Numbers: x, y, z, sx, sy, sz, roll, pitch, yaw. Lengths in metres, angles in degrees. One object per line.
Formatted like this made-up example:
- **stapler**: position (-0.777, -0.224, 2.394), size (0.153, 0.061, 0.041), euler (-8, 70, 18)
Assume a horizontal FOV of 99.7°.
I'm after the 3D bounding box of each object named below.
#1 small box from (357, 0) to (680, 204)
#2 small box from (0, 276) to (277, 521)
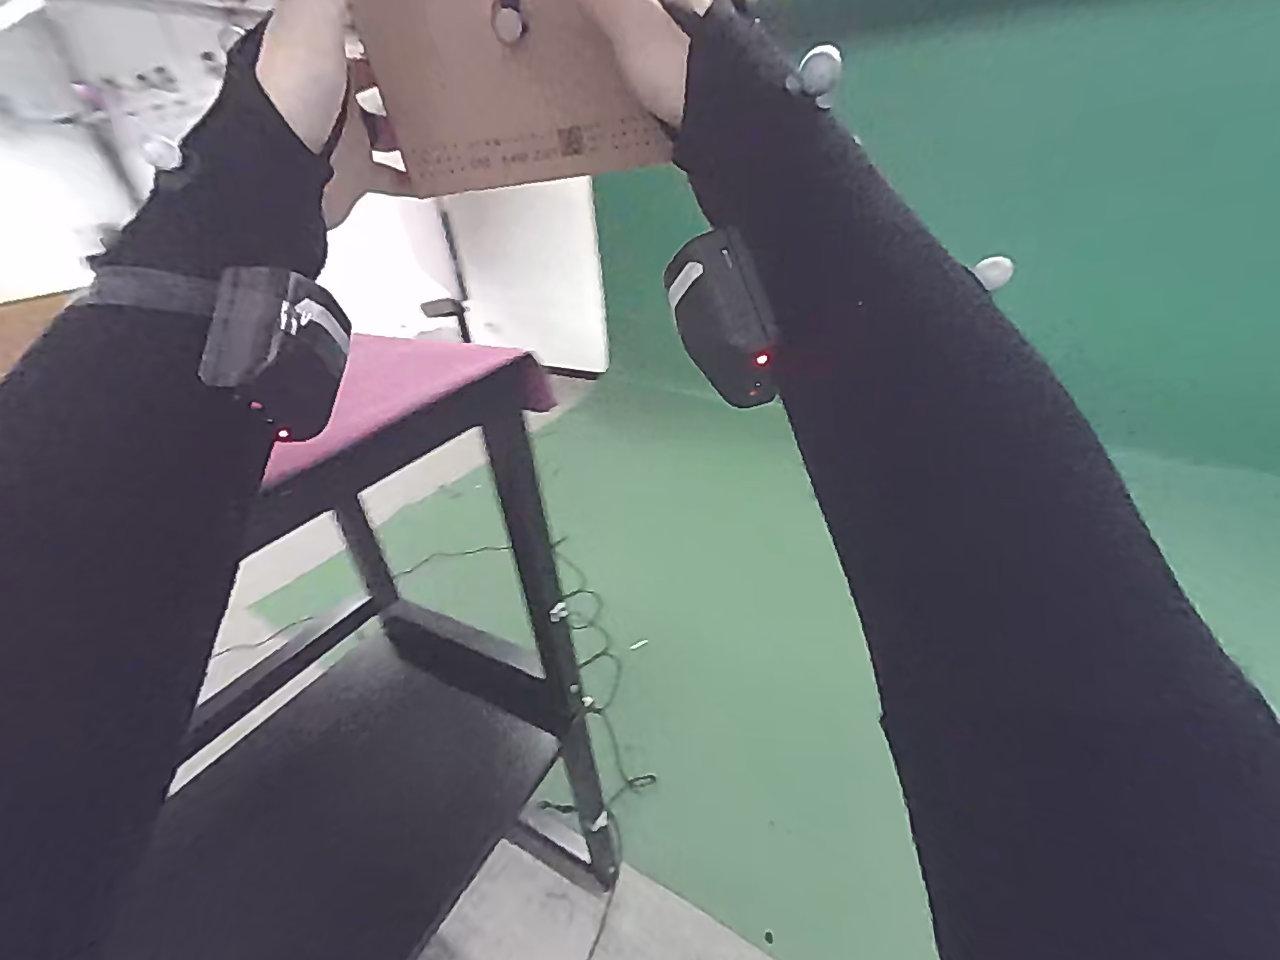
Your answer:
- **small box**: position (-0.066, -0.295, 0.354), size (0.168, 0.176, 0.179), euler (-6, 41, 4)
- **small box**: position (-0.491, -0.088, 0.517), size (0.168, 0.176, 0.179), euler (12, 36, 28)
